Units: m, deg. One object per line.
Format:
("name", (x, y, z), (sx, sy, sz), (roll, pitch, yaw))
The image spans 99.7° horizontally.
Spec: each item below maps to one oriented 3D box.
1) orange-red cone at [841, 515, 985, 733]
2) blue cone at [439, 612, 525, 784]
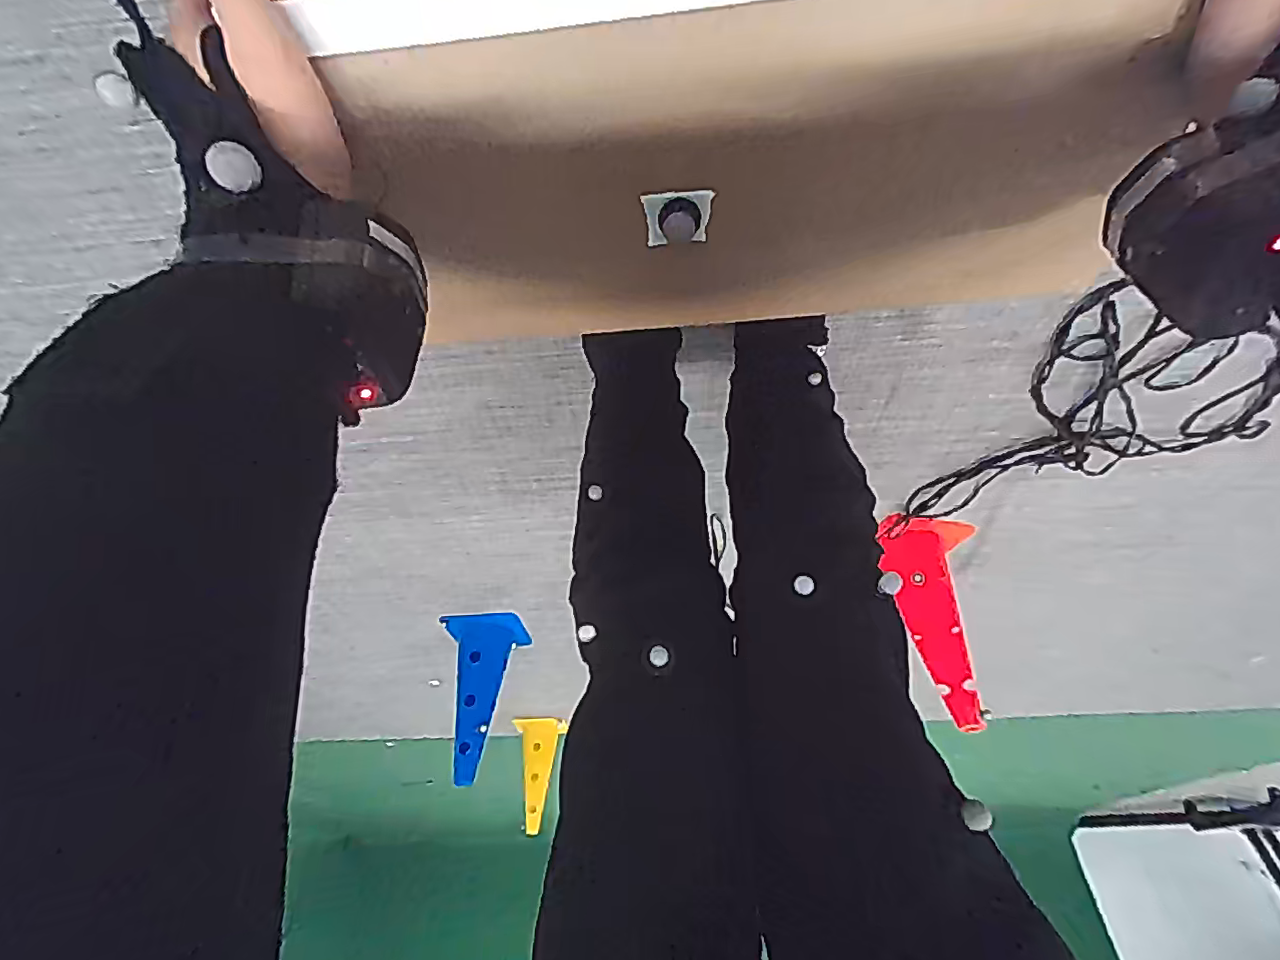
("orange-red cone", (0.541, 0.267, 0.990), (0.199, 0.360, 0.198), (8, 141, -14))
("blue cone", (-0.403, 0.521, 1.308), (0.192, 0.380, 0.193), (-3, 140, 3))
